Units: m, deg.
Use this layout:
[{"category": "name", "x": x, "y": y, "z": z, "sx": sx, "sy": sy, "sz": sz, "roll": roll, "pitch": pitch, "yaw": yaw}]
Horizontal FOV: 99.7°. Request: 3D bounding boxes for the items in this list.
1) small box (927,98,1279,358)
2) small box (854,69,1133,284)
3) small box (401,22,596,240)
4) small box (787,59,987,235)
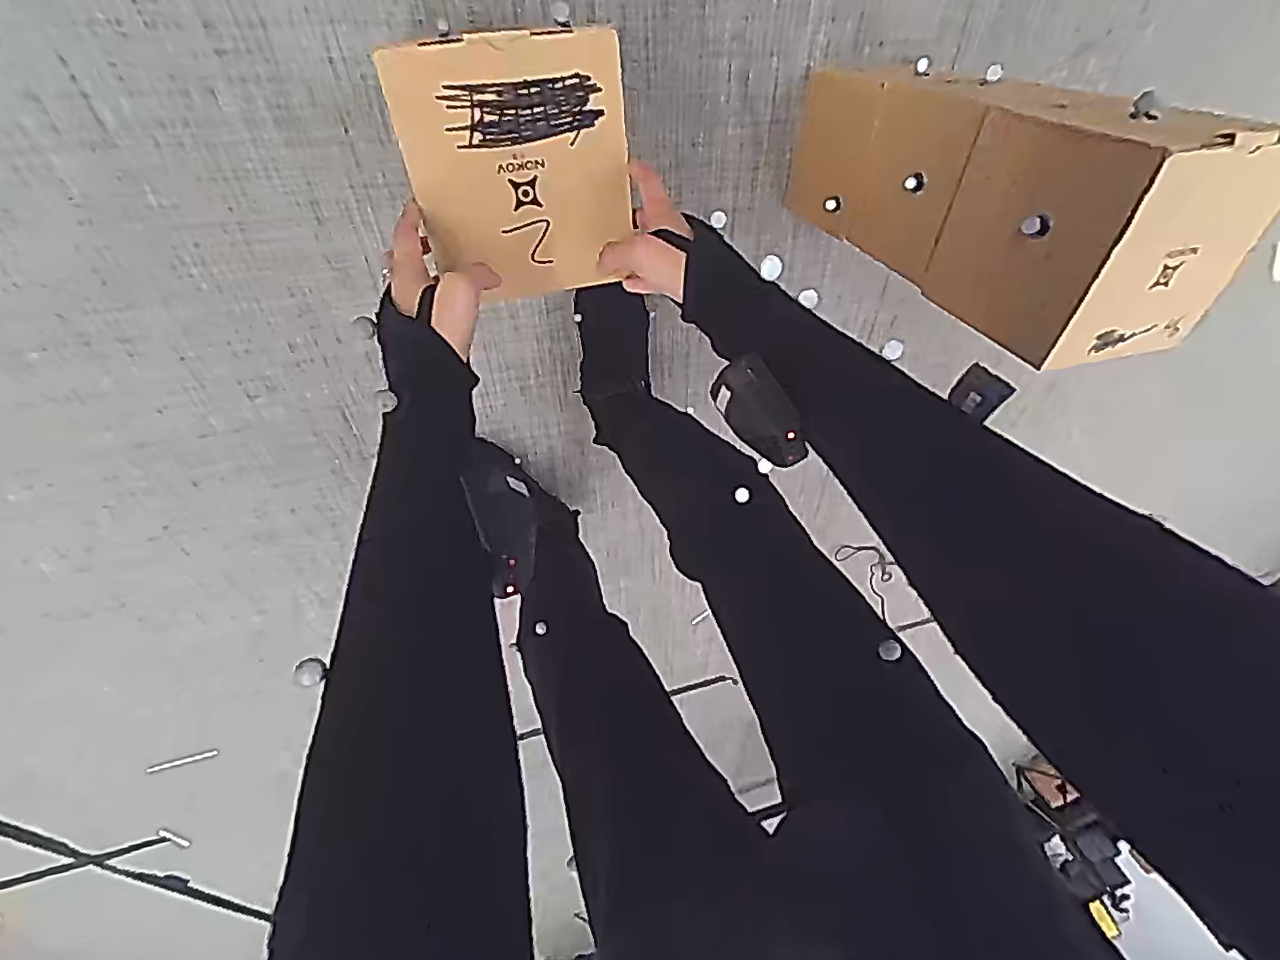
[{"category": "small box", "x": 0.405, "y": -0.237, "z": 0.495, "sx": 0.168, "sy": 0.176, "sz": 0.179, "roll": -11, "pitch": 134, "yaw": -12}, {"category": "small box", "x": 0.373, "y": -0.347, "z": 0.615, "sx": 0.168, "sy": 0.176, "sz": 0.179, "roll": -11, "pitch": 134, "yaw": -13}, {"category": "small box", "x": -0.152, "y": -0.391, "z": 0.600, "sx": 0.168, "sy": 0.176, "sz": 0.179, "roll": -12, "pitch": 134, "yaw": -9}, {"category": "small box", "x": 0.320, "y": -0.453, "z": 0.729, "sx": 0.168, "sy": 0.176, "sz": 0.179, "roll": -10, "pitch": 135, "yaw": -13}]
